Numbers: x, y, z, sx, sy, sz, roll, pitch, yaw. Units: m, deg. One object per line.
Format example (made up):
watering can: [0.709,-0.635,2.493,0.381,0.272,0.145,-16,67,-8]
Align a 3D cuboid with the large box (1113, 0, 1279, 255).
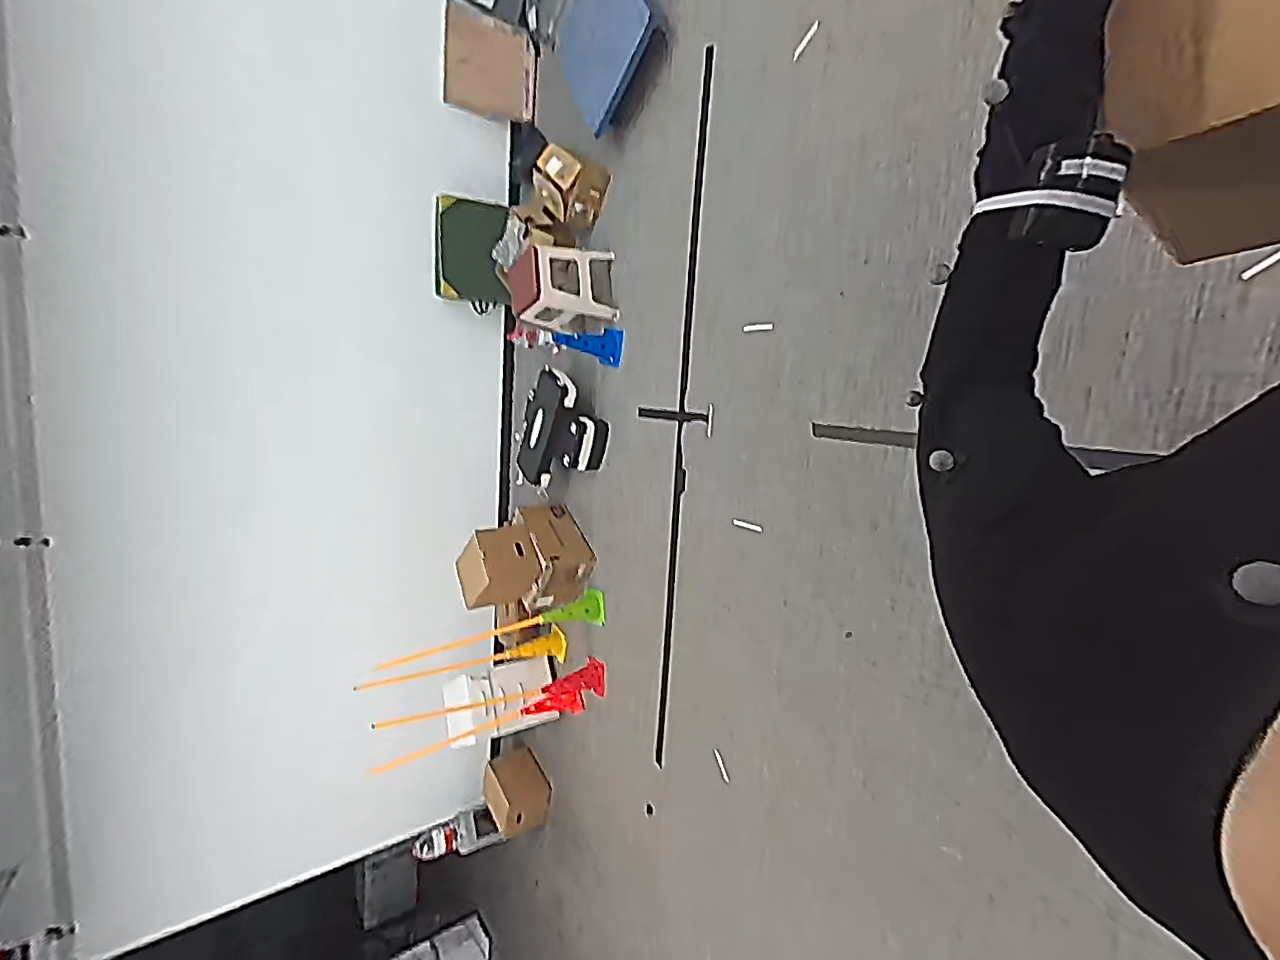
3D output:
large box: [0.579,-0.385,0.324,0.408,0.320,0.320,1,92,52]
